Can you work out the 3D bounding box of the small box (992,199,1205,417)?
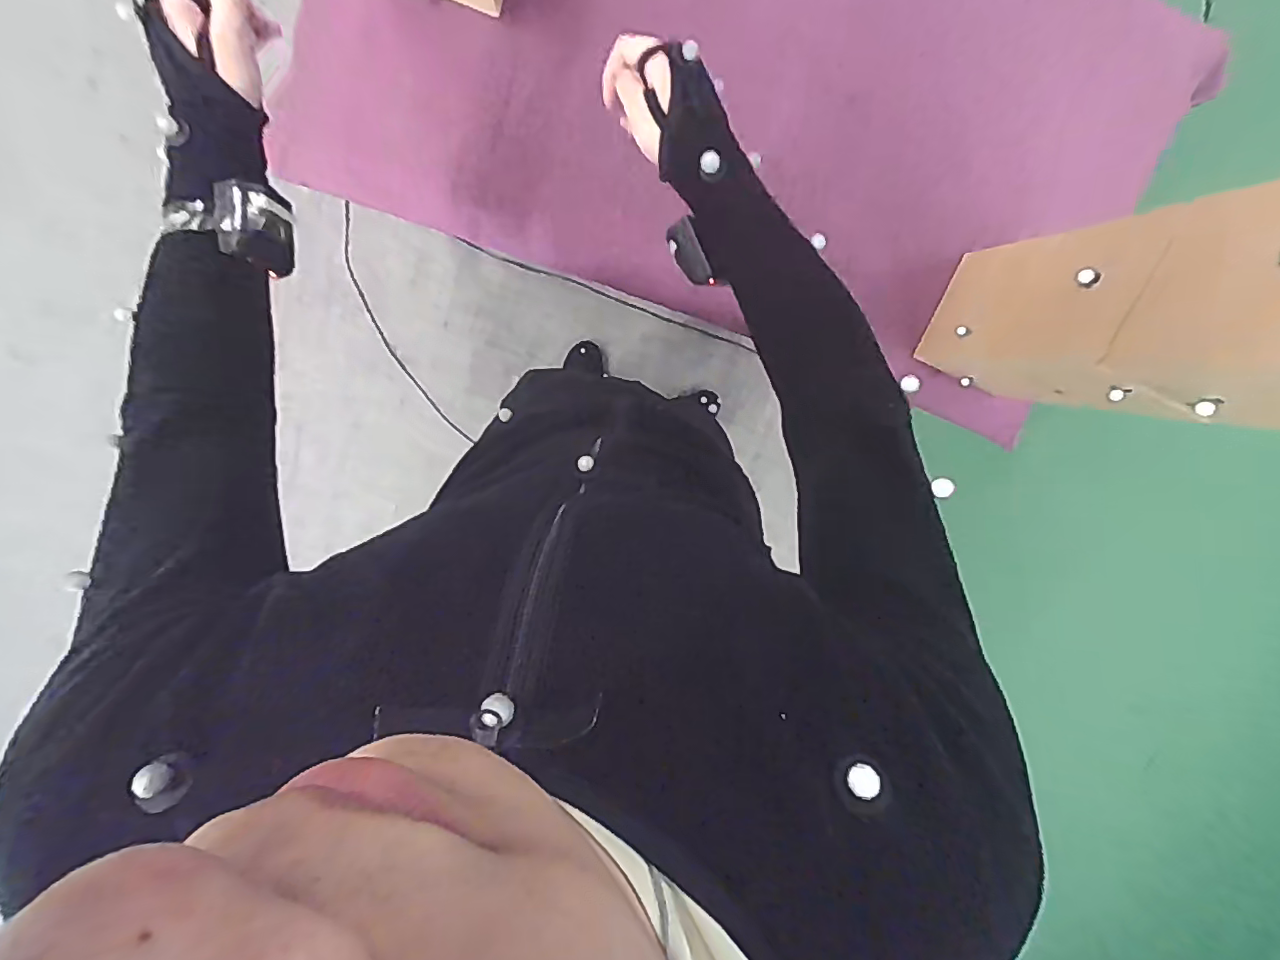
[{"bbox_3d":[0.573,-0.195,0.645,0.168,0.176,0.179,21,101,-10],"label":"small box"}]
